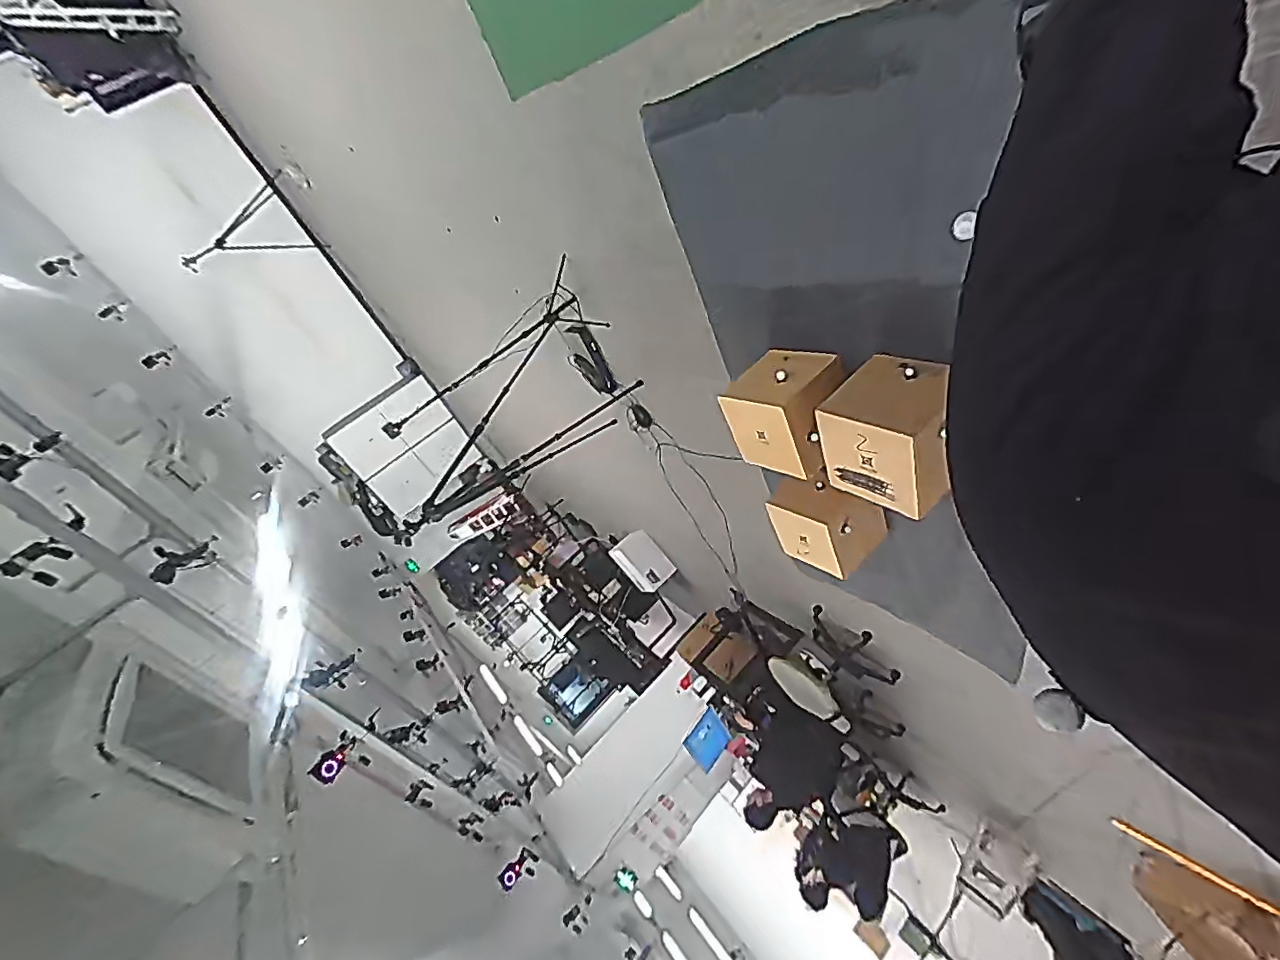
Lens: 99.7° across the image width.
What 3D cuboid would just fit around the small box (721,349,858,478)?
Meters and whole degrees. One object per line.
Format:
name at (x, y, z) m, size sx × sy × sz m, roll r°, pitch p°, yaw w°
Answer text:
small box at (0.294, -0.137, 1.054) m, size 0.168 × 0.176 × 0.179 m, roll 22°, pitch 150°, yaw 52°

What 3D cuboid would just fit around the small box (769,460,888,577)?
small box at (0.420, 0.075, 1.197) m, size 0.168 × 0.176 × 0.179 m, roll 24°, pitch 151°, yaw 51°
